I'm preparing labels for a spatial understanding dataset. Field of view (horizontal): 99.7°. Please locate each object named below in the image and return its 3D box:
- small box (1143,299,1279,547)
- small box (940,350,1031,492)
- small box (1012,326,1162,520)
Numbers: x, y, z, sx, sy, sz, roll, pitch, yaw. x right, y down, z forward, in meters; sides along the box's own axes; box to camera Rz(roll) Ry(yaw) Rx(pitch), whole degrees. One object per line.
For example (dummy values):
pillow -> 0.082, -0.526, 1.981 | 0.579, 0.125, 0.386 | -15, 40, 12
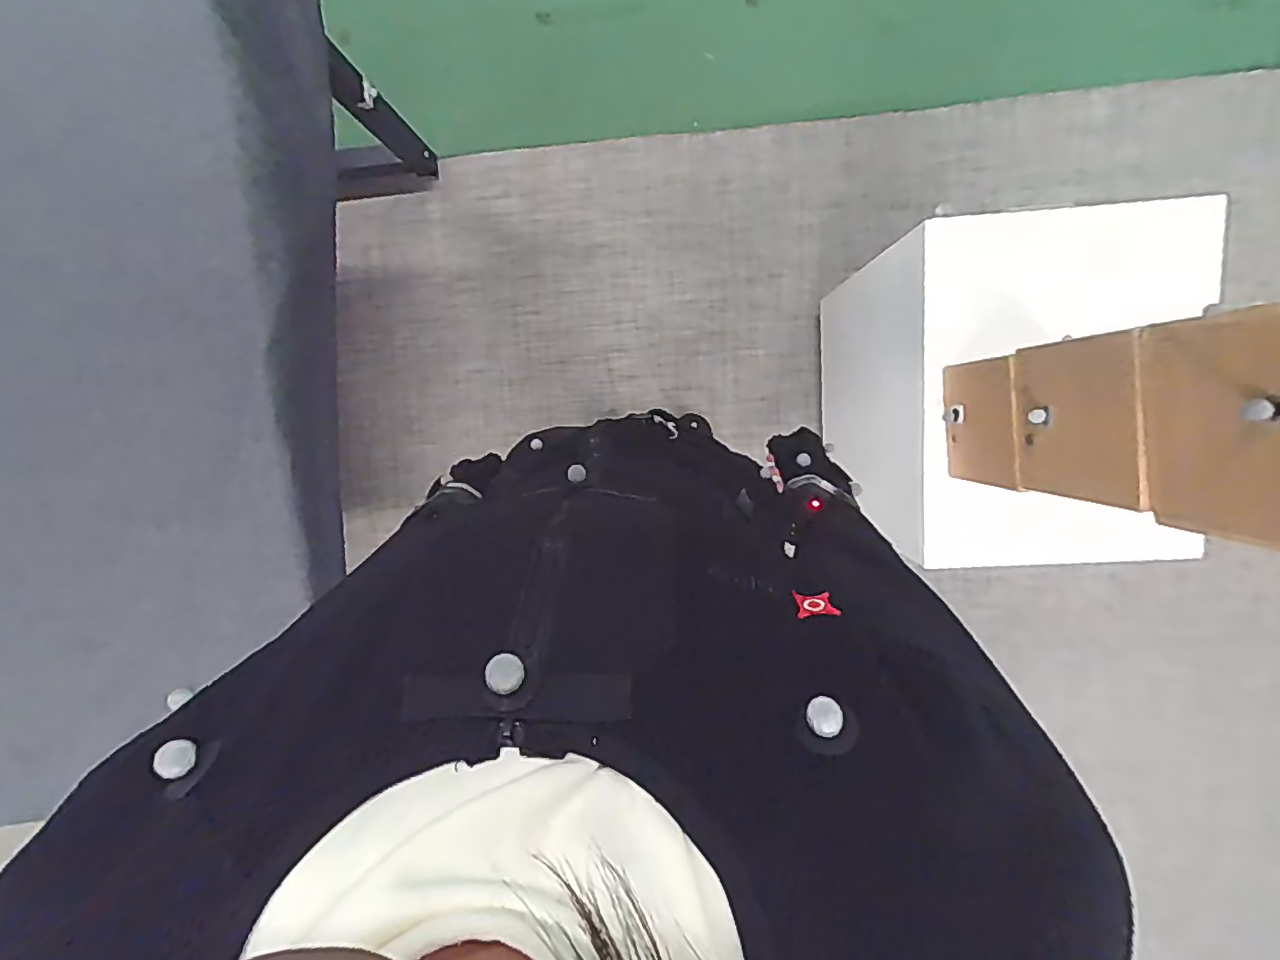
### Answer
small box -> 0.502, -0.046, 0.374 | 0.168, 0.176, 0.179 | -9, 96, 5
small box -> 0.520, -0.085, 0.699 | 0.179, 0.176, 0.168 | -7, 96, 6
small box -> 0.514, -0.068, 0.536 | 0.179, 0.176, 0.168 | -9, 97, 3
